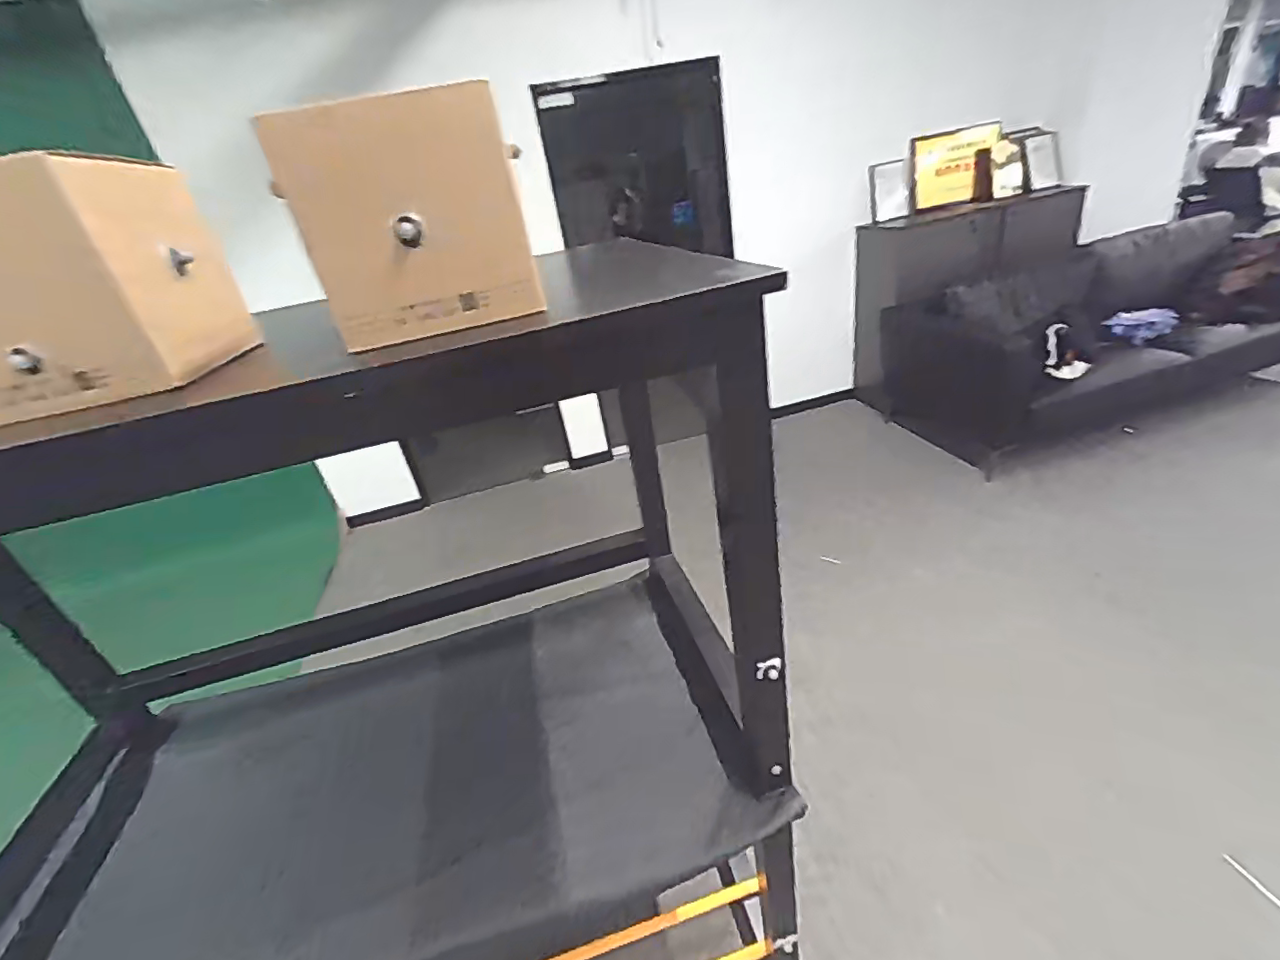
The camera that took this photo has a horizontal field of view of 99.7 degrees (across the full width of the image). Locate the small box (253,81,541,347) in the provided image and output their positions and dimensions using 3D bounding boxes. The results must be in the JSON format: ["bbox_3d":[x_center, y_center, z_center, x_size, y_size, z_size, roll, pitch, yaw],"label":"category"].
[{"bbox_3d":[-0.192,-0.228,0.486,0.168,0.176,0.179,-15,29,-8],"label":"small box"}]
